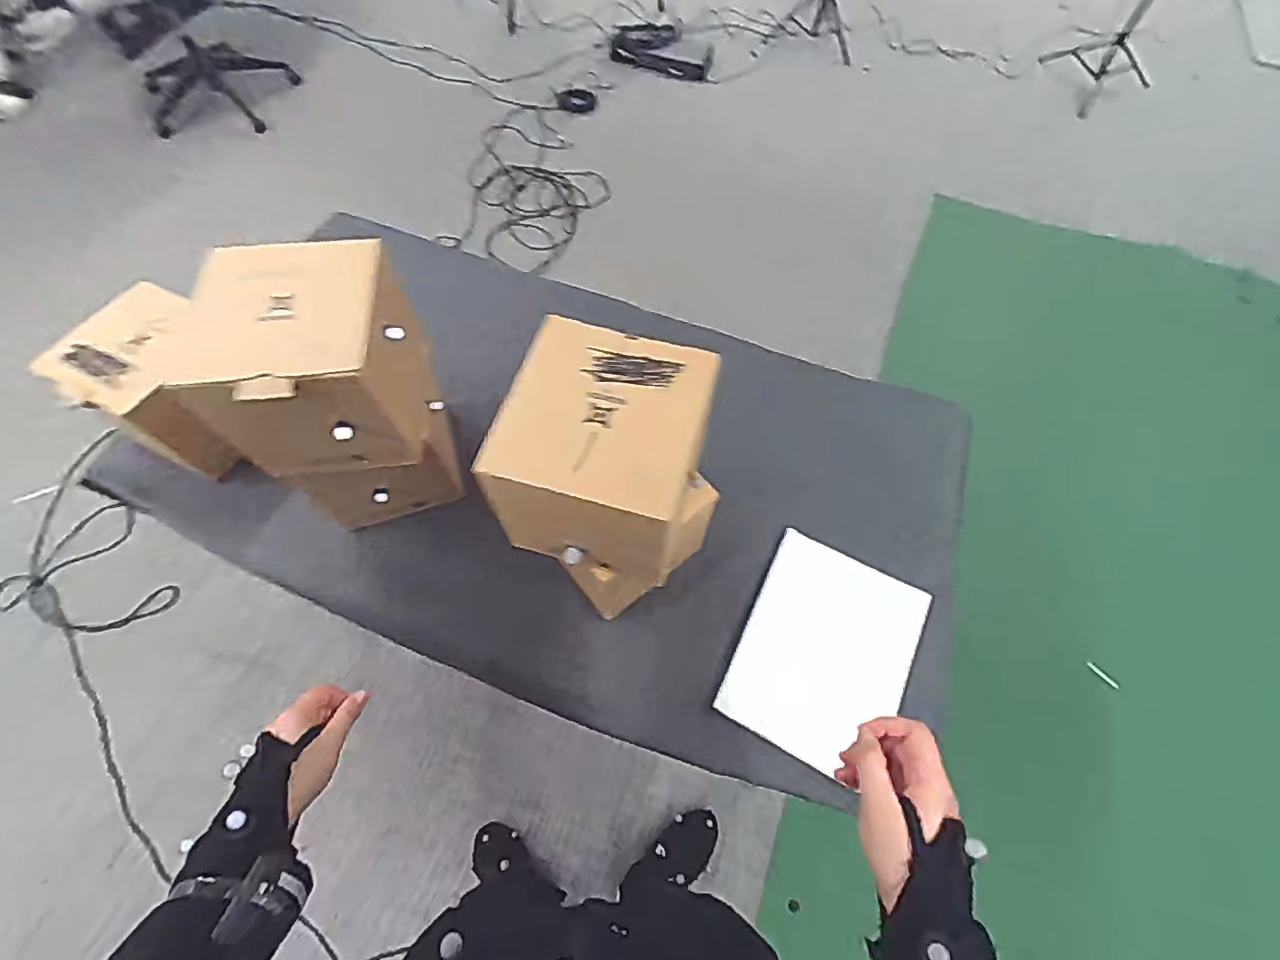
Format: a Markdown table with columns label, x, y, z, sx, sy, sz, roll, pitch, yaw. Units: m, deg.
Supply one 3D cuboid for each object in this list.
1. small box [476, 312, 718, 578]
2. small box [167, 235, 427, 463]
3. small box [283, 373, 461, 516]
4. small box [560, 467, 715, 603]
| label | x | y | z | sx | sy | sz | roll | pitch | yaw |
| --- | --- | --- | --- | --- | --- | --- | --- | --- | --- |
| small box | -0.032 | -0.027 | 0.530 | 0.168 | 0.176 | 0.179 | 15 | 64 | 8 |
| small box | -0.339 | -0.129 | 0.579 | 0.168 | 0.176 | 0.179 | -6 | 63 | -5 |
| small box | -0.354 | -0.067 | 0.730 | 0.168 | 0.176 | 0.179 | -16 | 64 | -10 |
| small box | -0.029 | 0.035 | 0.683 | 0.168 | 0.176 | 0.179 | -36 | 68 | -18 |
